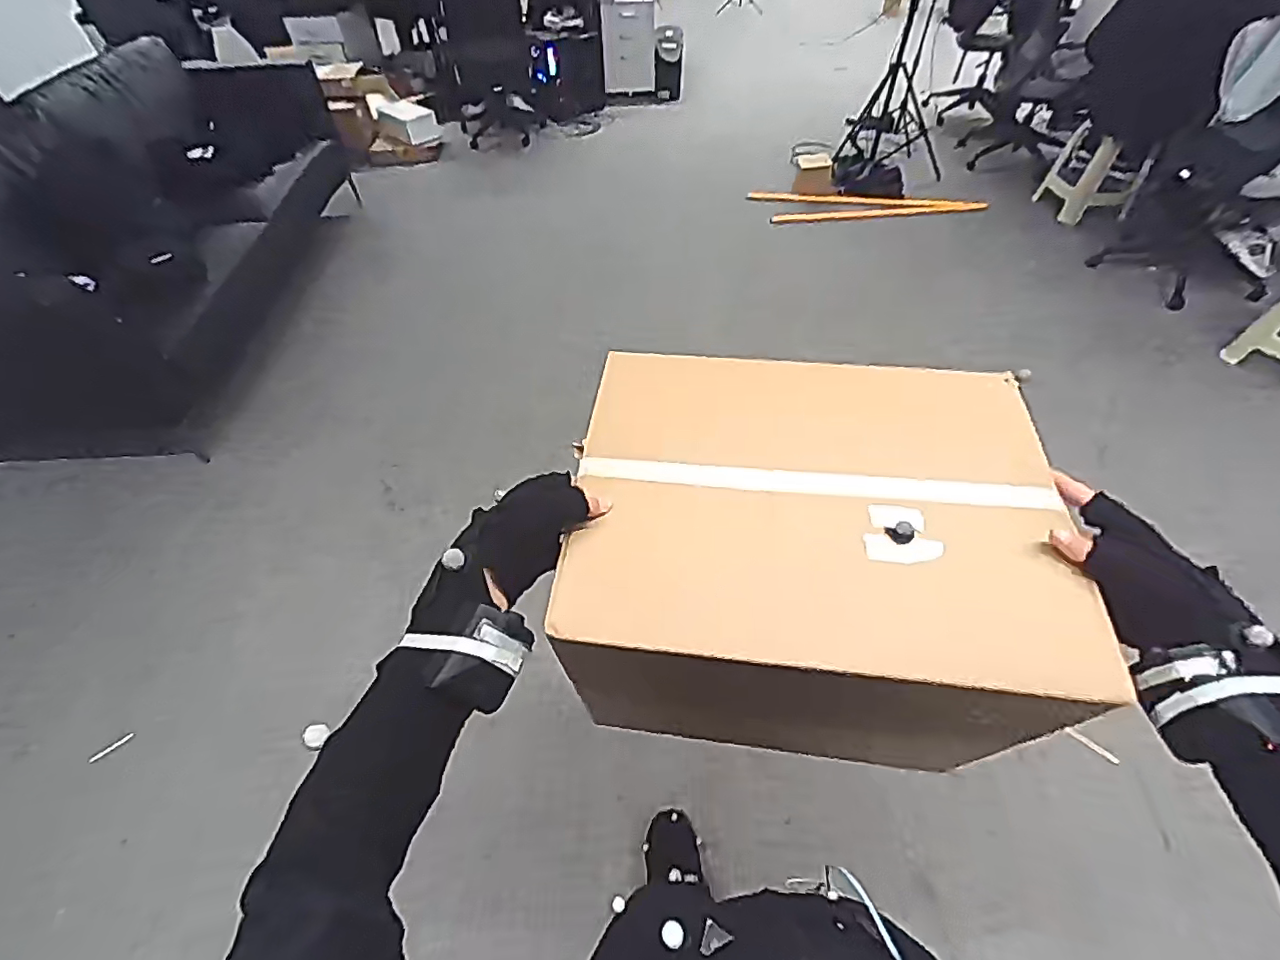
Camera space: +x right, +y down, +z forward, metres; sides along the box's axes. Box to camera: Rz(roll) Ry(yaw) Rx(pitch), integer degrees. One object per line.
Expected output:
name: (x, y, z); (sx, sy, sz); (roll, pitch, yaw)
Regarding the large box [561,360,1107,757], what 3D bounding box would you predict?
large box: (0.153, 0.093, 0.602); (0.408, 0.320, 0.320); (5, 55, 6)
